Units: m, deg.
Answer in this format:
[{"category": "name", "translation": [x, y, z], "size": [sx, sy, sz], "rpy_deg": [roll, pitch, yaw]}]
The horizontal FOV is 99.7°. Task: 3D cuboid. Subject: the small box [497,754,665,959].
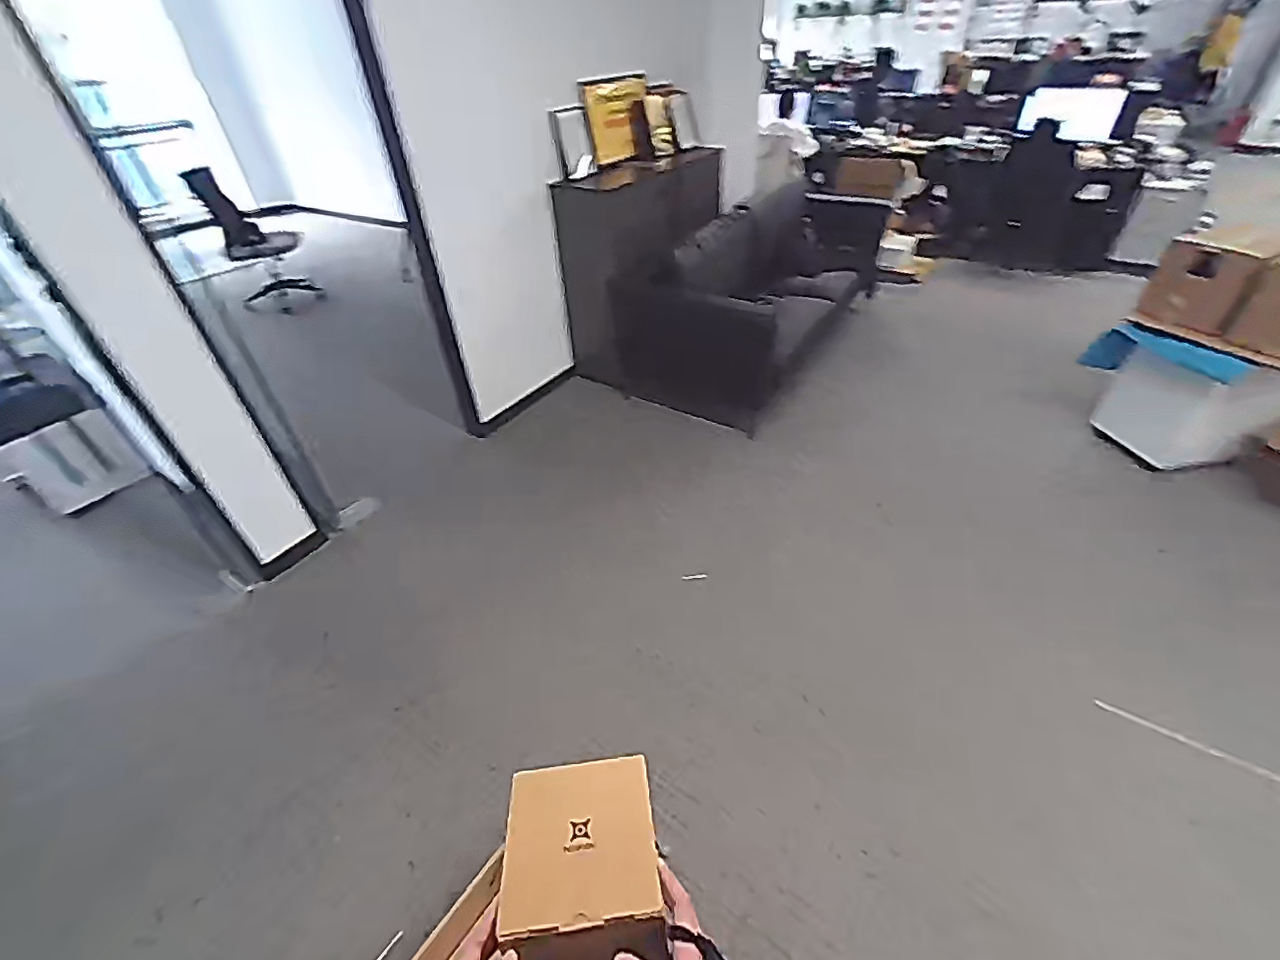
[{"category": "small box", "translation": [-0.062, 0.460, 0.634], "size": [0.168, 0.176, 0.179], "rpy_deg": [-5, 27, -4]}]
